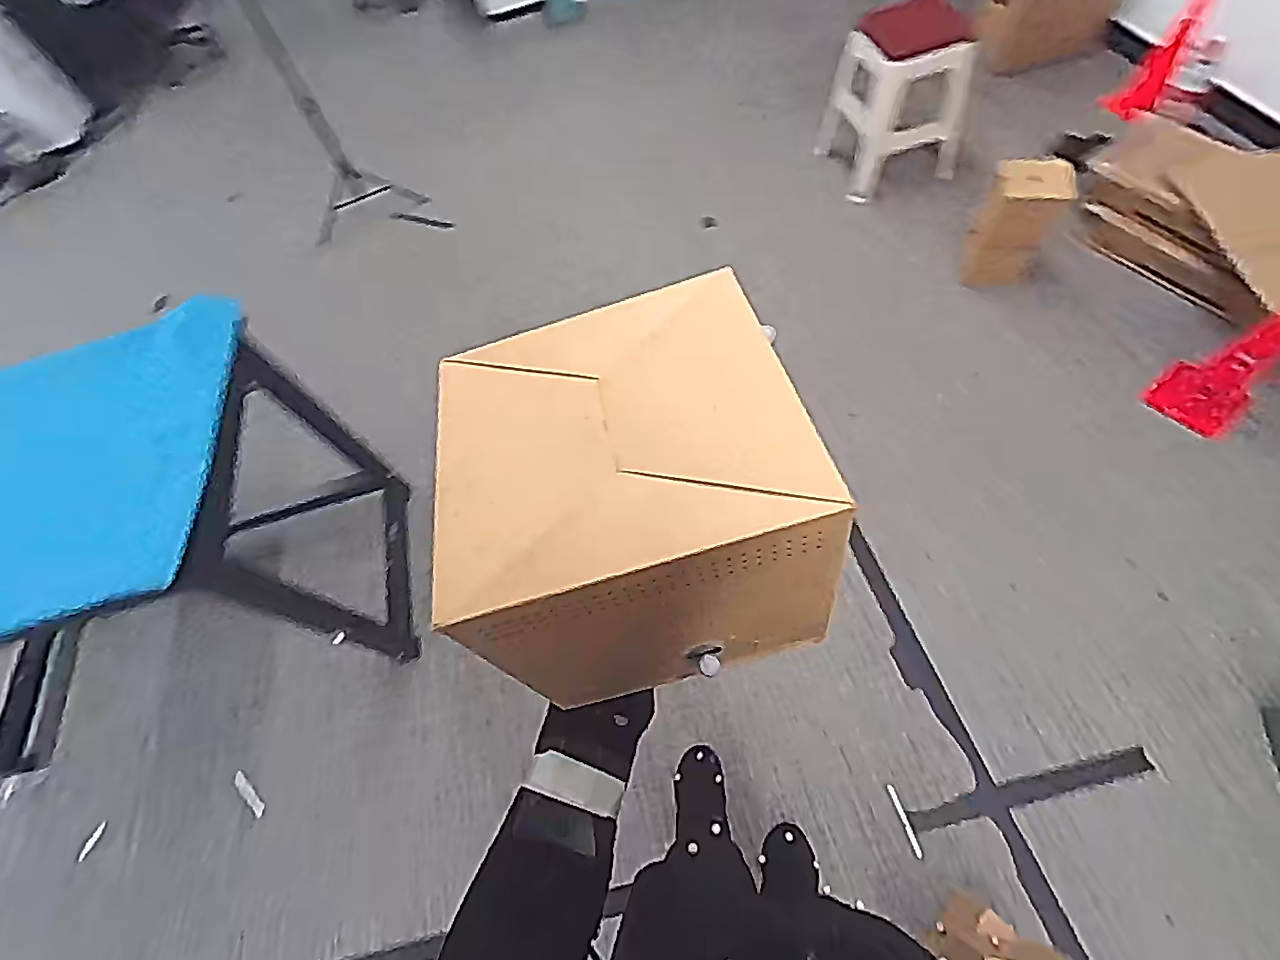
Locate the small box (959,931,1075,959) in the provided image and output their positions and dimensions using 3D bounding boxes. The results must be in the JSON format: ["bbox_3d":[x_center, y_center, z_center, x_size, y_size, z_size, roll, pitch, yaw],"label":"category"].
[{"bbox_3d":[0.608,0.827,0.825,0.179,0.176,0.168,4,65,12],"label":"small box"}]

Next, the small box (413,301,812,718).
[{"bbox_3d":[-0.009,0.022,0.323,0.179,0.176,0.168,-18,54,3],"label":"small box"}]

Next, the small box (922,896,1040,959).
[{"bbox_3d":[0.646,0.895,0.972,0.179,0.176,0.168,38,74,24],"label":"small box"}]
